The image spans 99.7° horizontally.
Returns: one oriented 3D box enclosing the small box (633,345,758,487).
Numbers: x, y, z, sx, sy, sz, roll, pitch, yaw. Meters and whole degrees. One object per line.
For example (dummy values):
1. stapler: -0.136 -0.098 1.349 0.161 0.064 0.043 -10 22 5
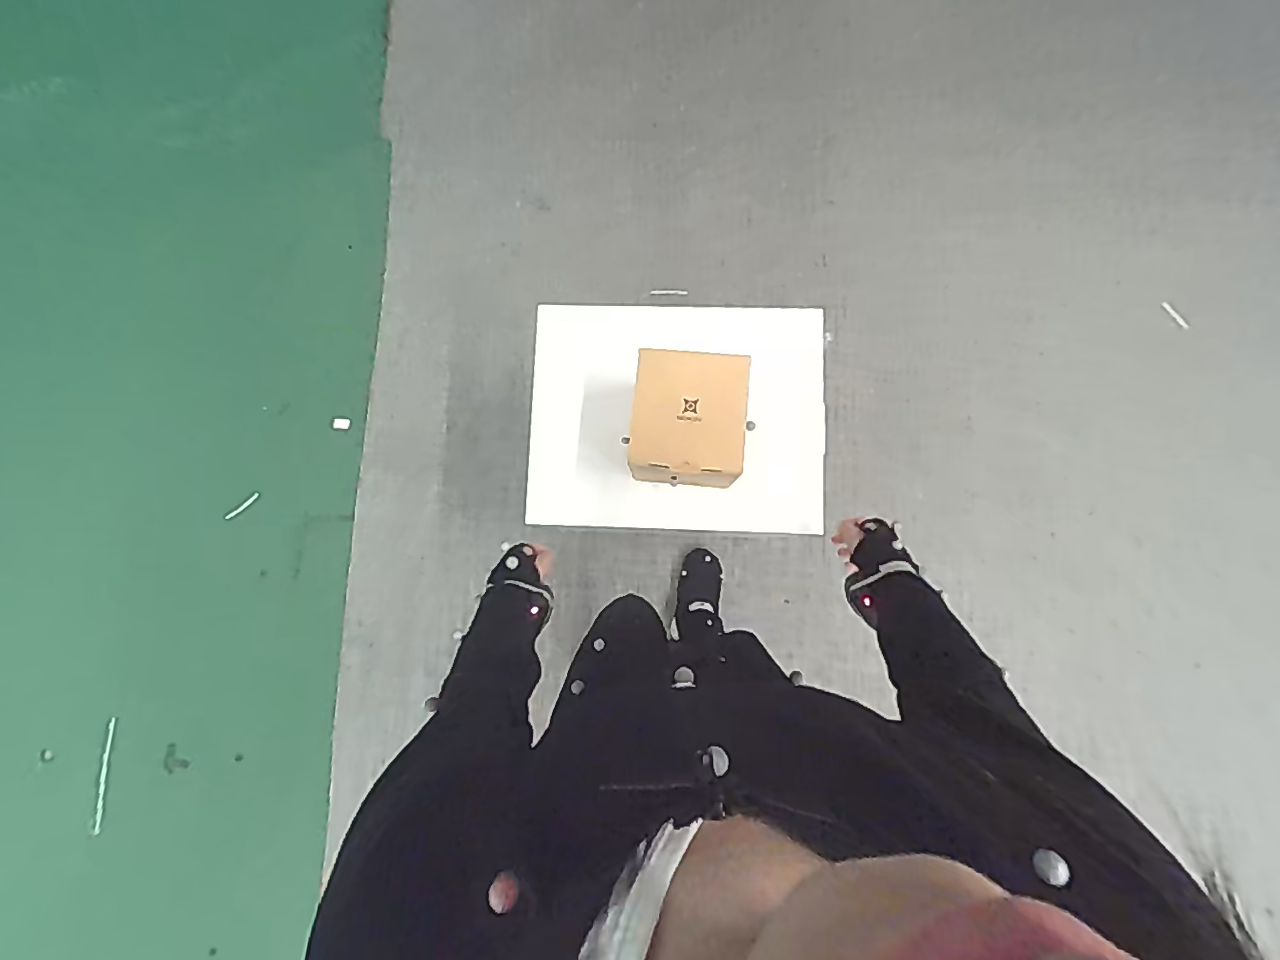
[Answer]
1. small box: 0.081 -0.090 0.834 0.168 0.176 0.179 4 83 4
